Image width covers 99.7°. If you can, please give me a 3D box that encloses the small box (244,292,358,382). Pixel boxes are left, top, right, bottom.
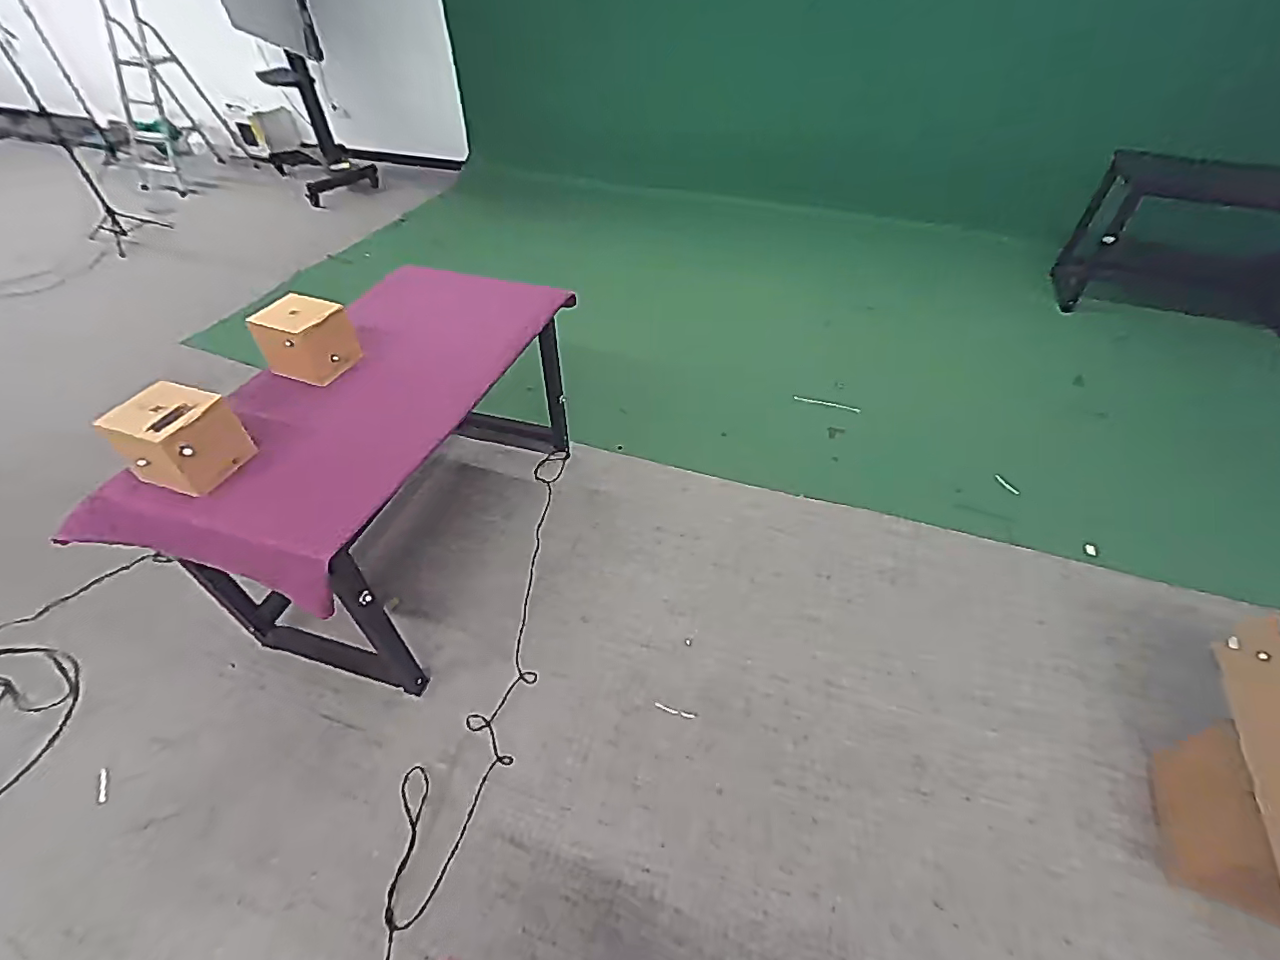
[{"bbox_3d":[-0.918,-0.389,1.481,0.179,0.176,0.168,16,47,11],"label":"small box"}]
